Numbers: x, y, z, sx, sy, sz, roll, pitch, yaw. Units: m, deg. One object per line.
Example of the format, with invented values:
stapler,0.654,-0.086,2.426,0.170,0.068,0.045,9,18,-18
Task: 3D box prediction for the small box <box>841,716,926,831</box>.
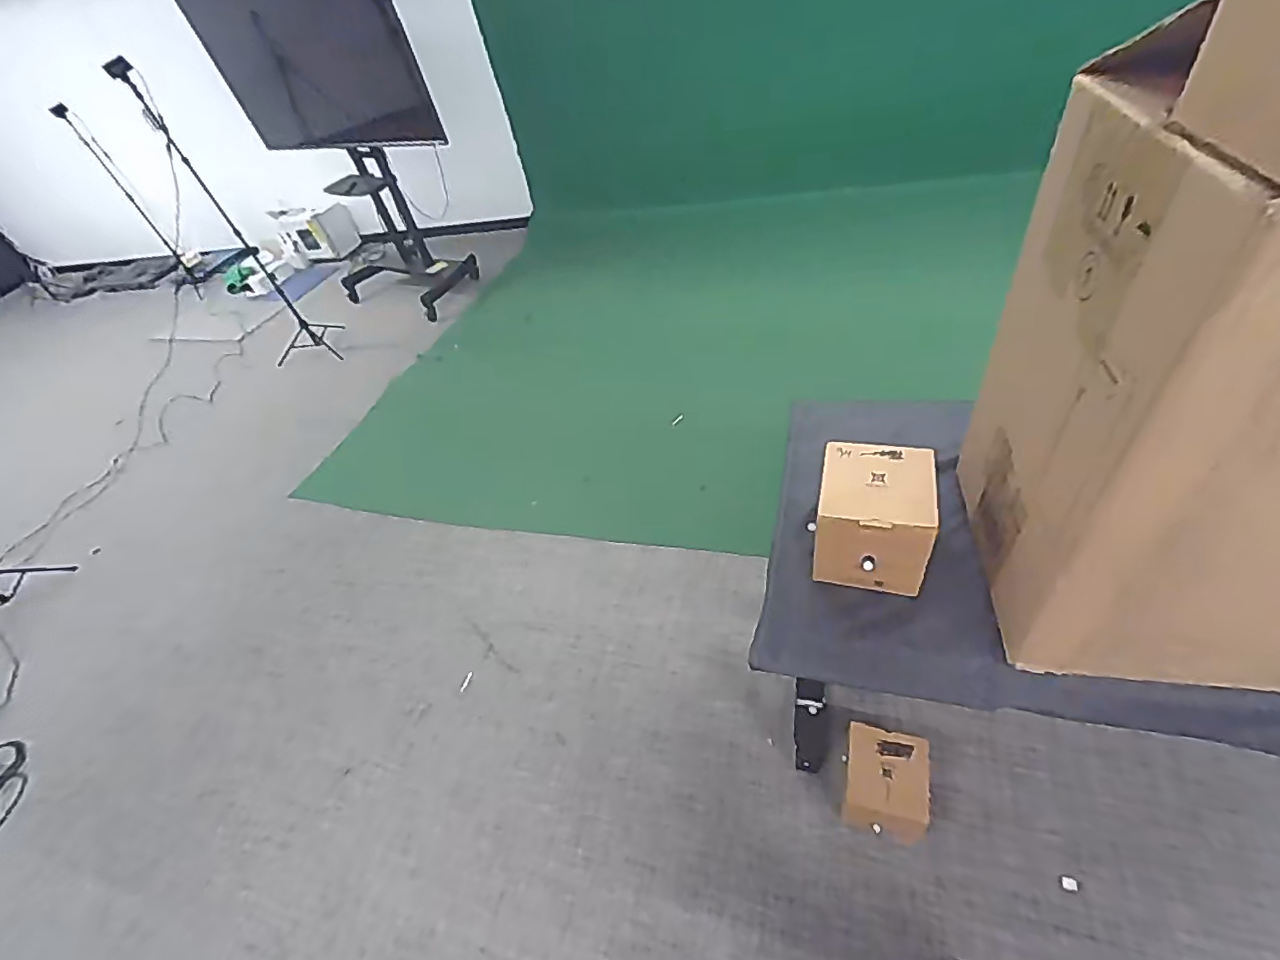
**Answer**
small box,0.570,0.693,1.275,0.168,0.176,0.179,6,50,22
